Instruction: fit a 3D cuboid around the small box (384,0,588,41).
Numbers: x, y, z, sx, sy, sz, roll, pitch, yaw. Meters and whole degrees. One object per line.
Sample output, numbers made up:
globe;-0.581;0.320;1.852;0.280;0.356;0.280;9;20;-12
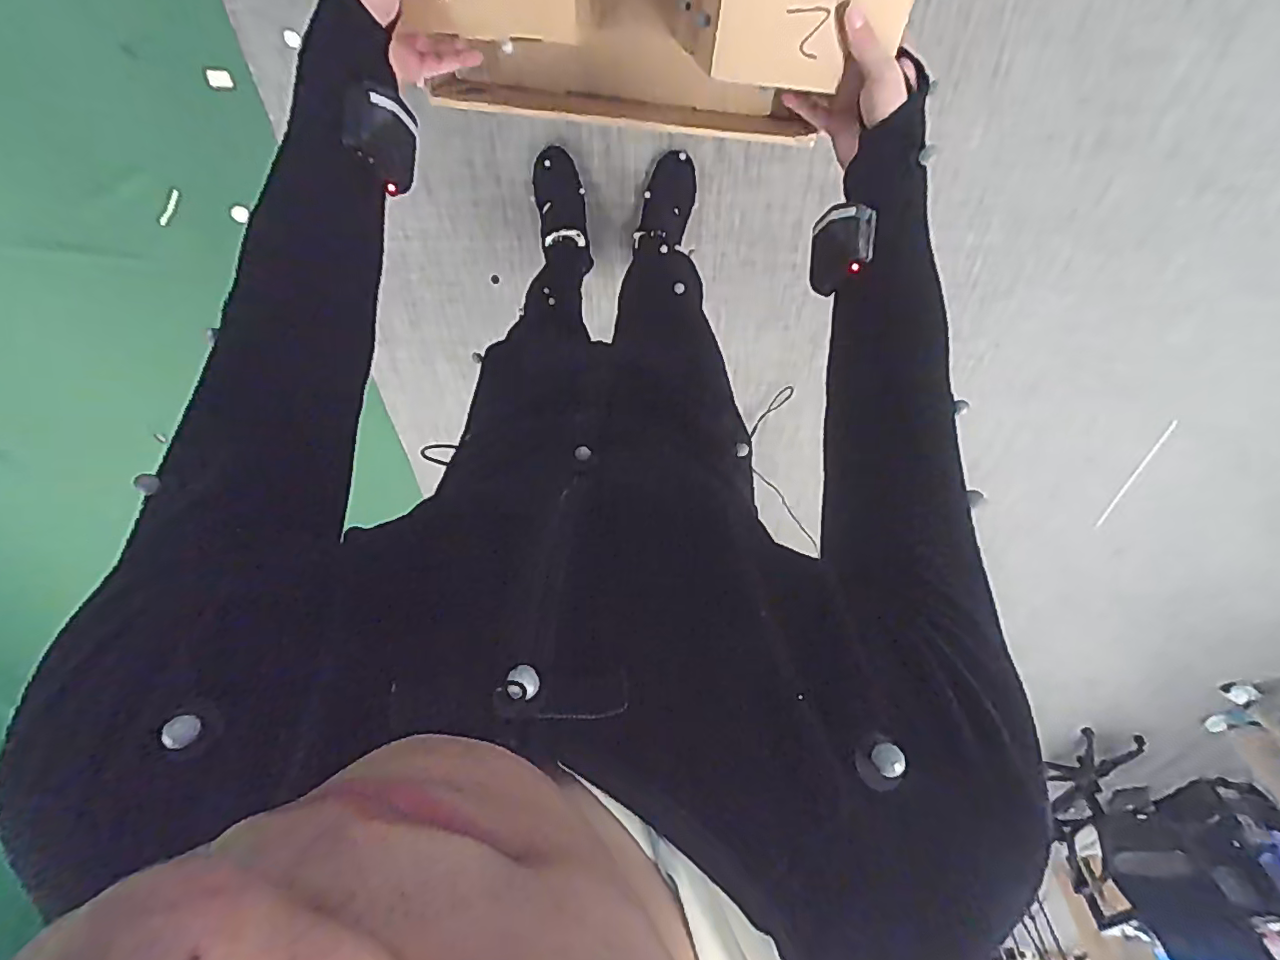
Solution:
small box;-0.135;-0.514;0.485;0.168;0.176;0.179;3;131;-1

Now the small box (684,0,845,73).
small box;0.145;-0.593;0.620;0.168;0.176;0.179;5;130;-4
